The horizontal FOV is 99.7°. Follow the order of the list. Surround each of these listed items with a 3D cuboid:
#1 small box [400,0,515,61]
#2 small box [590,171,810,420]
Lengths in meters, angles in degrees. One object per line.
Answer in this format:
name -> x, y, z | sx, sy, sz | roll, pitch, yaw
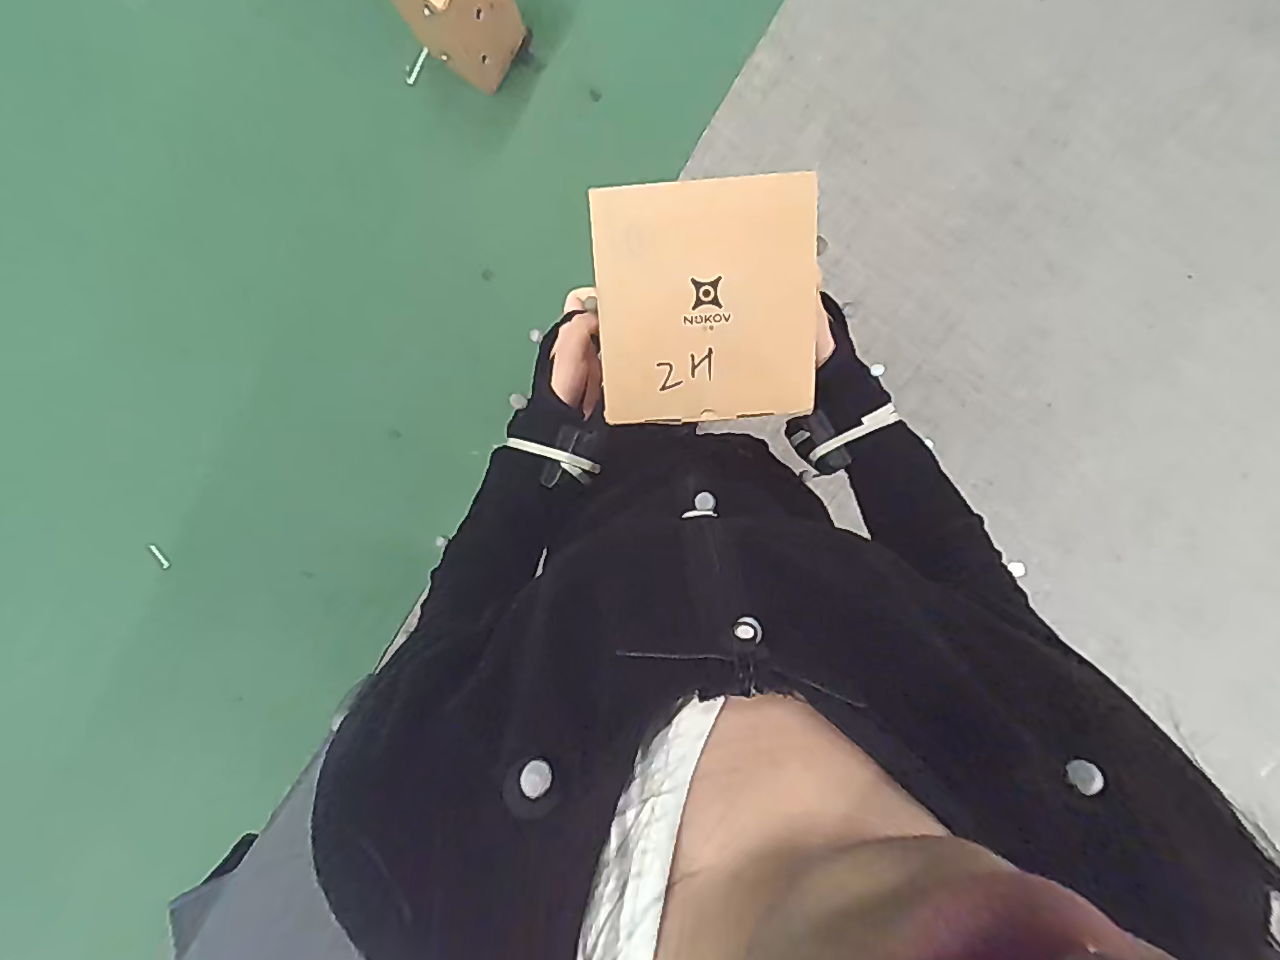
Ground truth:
small box -> -0.371, -0.974, 1.051 | 0.179, 0.176, 0.168 | 32, 101, -5
small box -> 0.052, -0.154, 0.492 | 0.168, 0.176, 0.179 | -3, 103, 5
